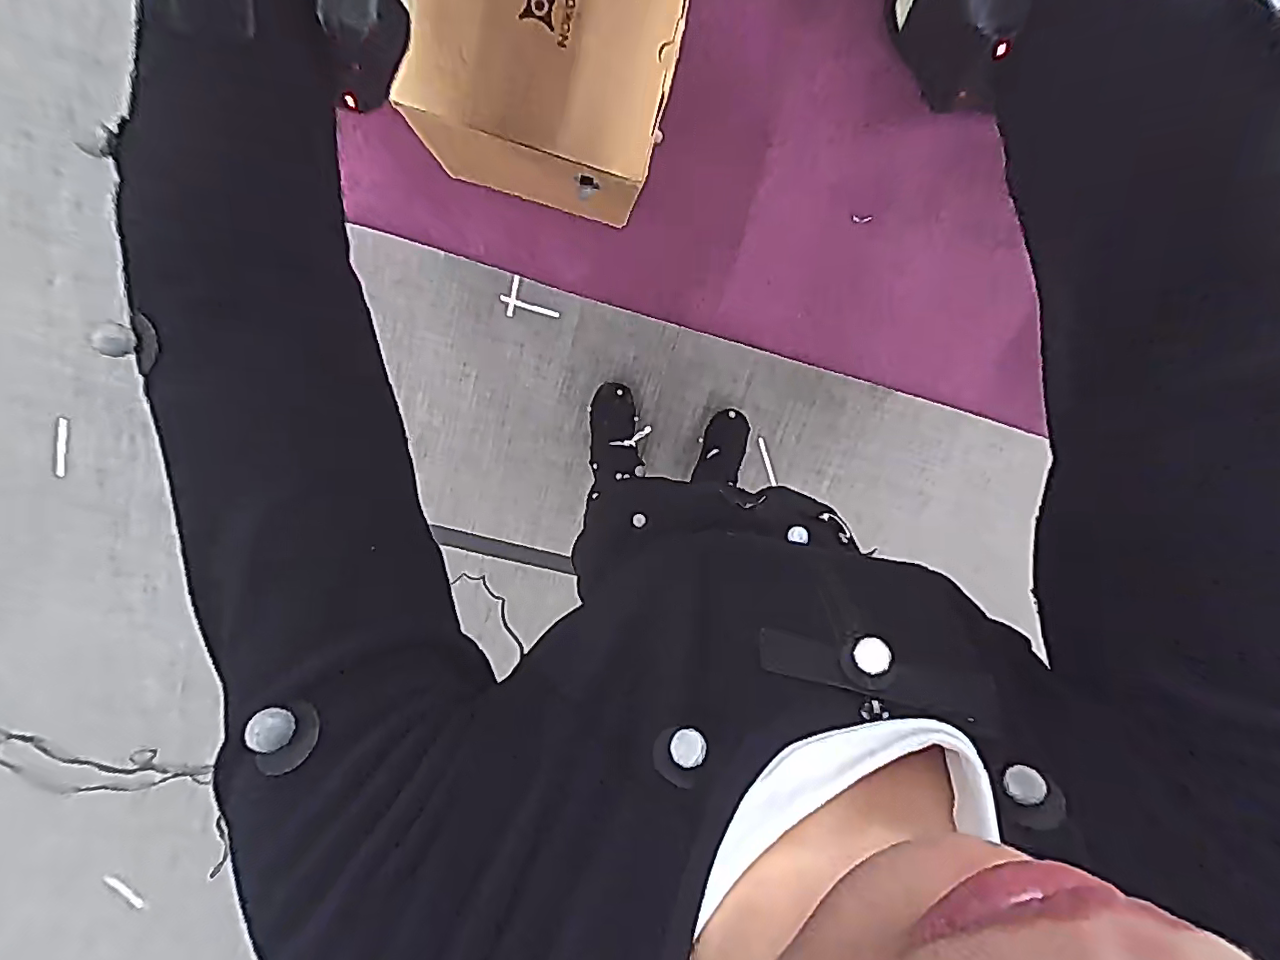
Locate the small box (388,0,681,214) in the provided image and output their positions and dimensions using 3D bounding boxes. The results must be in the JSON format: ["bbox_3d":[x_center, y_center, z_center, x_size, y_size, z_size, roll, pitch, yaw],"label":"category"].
[{"bbox_3d":[-0.072,-0.330,0.427,0.179,0.176,0.168,11,103,-11],"label":"small box"}]
